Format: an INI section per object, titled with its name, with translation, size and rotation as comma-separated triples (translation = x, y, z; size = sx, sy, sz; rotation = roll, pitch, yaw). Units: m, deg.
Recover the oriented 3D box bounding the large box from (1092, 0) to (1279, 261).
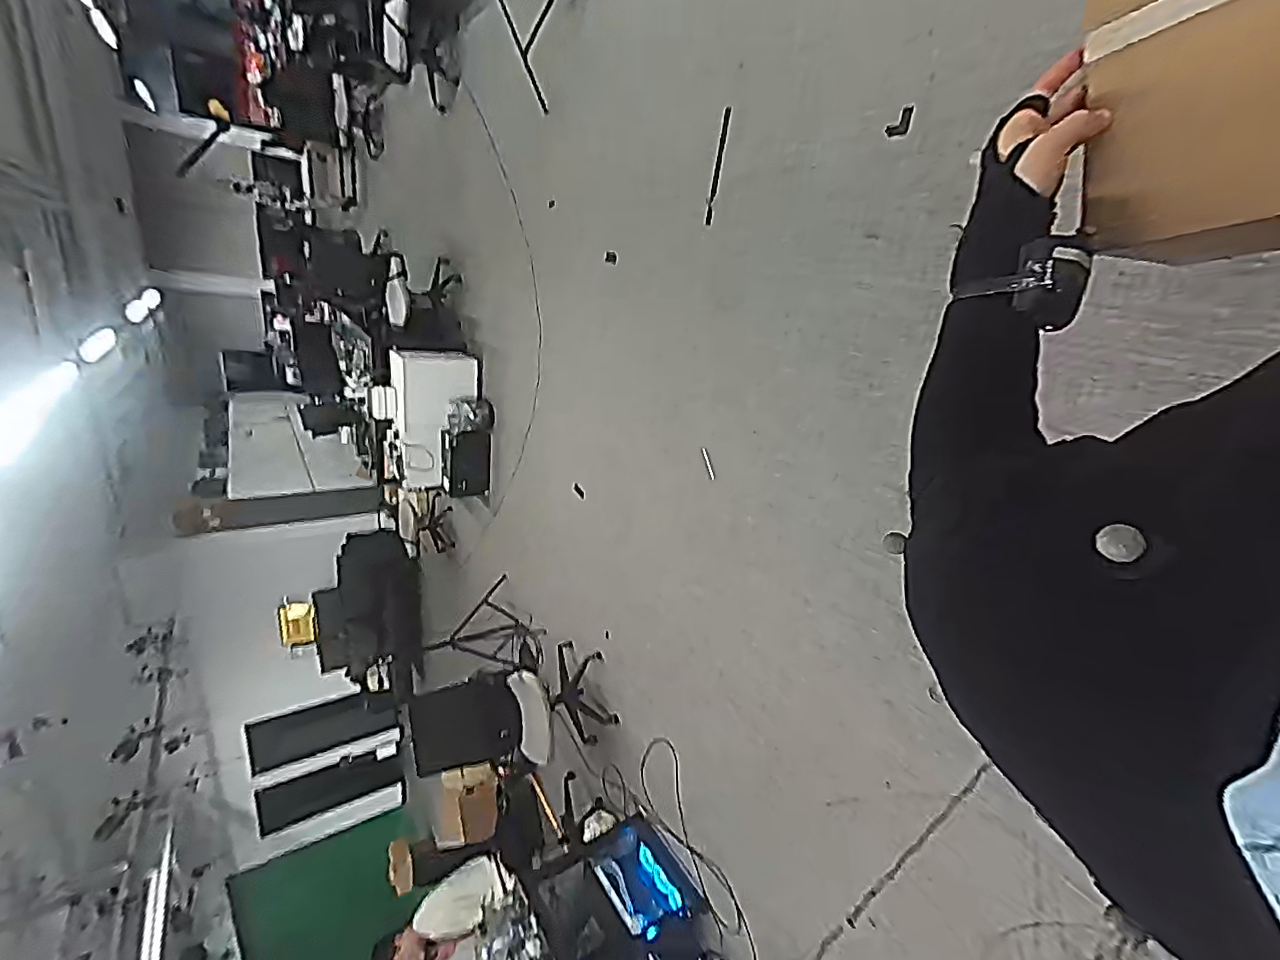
[large box]
translation = 0.601, -0.361, 0.357
size = 0.408, 0.320, 0.320
rotation = 5, 104, 55
